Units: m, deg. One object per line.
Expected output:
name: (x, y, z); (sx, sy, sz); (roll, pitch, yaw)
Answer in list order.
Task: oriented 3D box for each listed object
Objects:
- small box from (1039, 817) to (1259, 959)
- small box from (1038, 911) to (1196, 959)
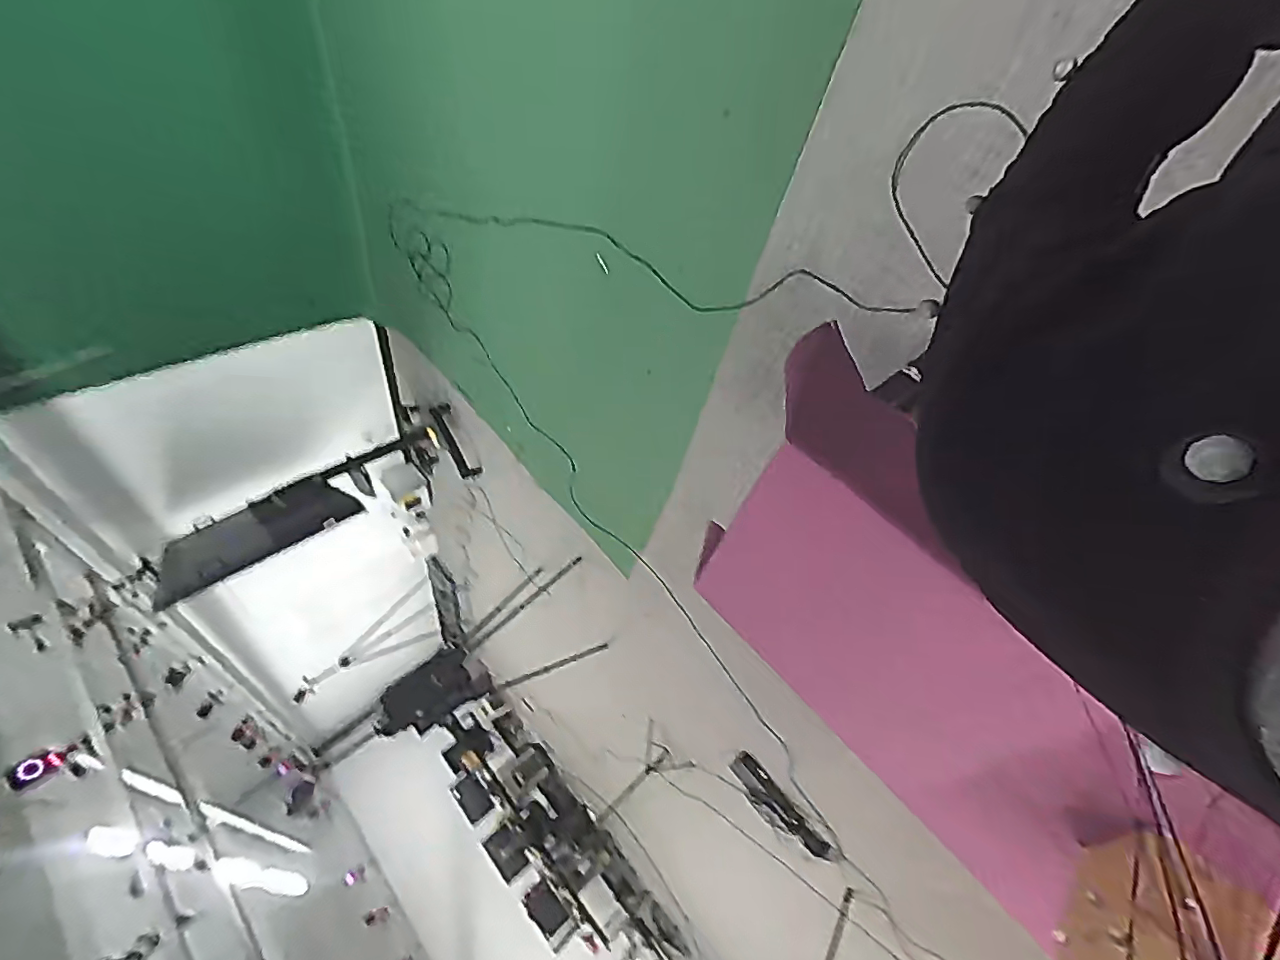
small box: (0.755, 0.645, 0.807); (0.168, 0.176, 0.179); (41, 144, 26)
small box: (0.644, 0.702, 0.698); (0.179, 0.176, 0.168); (40, 143, 26)
